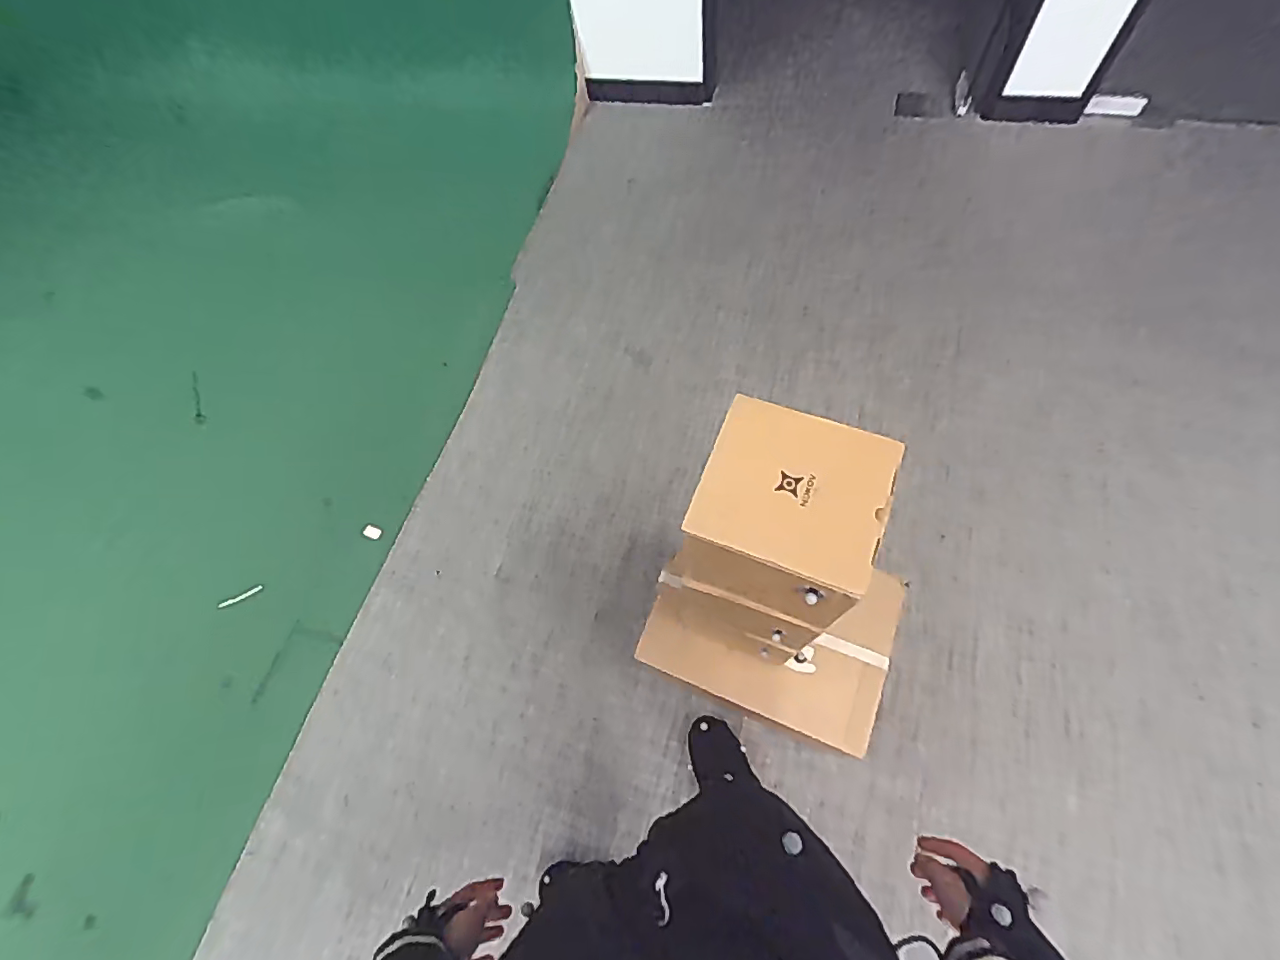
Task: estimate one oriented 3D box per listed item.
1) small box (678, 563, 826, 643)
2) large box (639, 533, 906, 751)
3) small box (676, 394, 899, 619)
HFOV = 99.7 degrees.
[{"bbox_3d":[0.163,0.112,0.736,0.179,0.176,0.168,15,67,15],"label":"small box"},{"bbox_3d":[0.248,0.303,1.088,0.408,0.320,0.320,19,70,14],"label":"large box"},{"bbox_3d":[0.151,0.037,0.592,0.179,0.176,0.168,19,68,14],"label":"small box"}]
